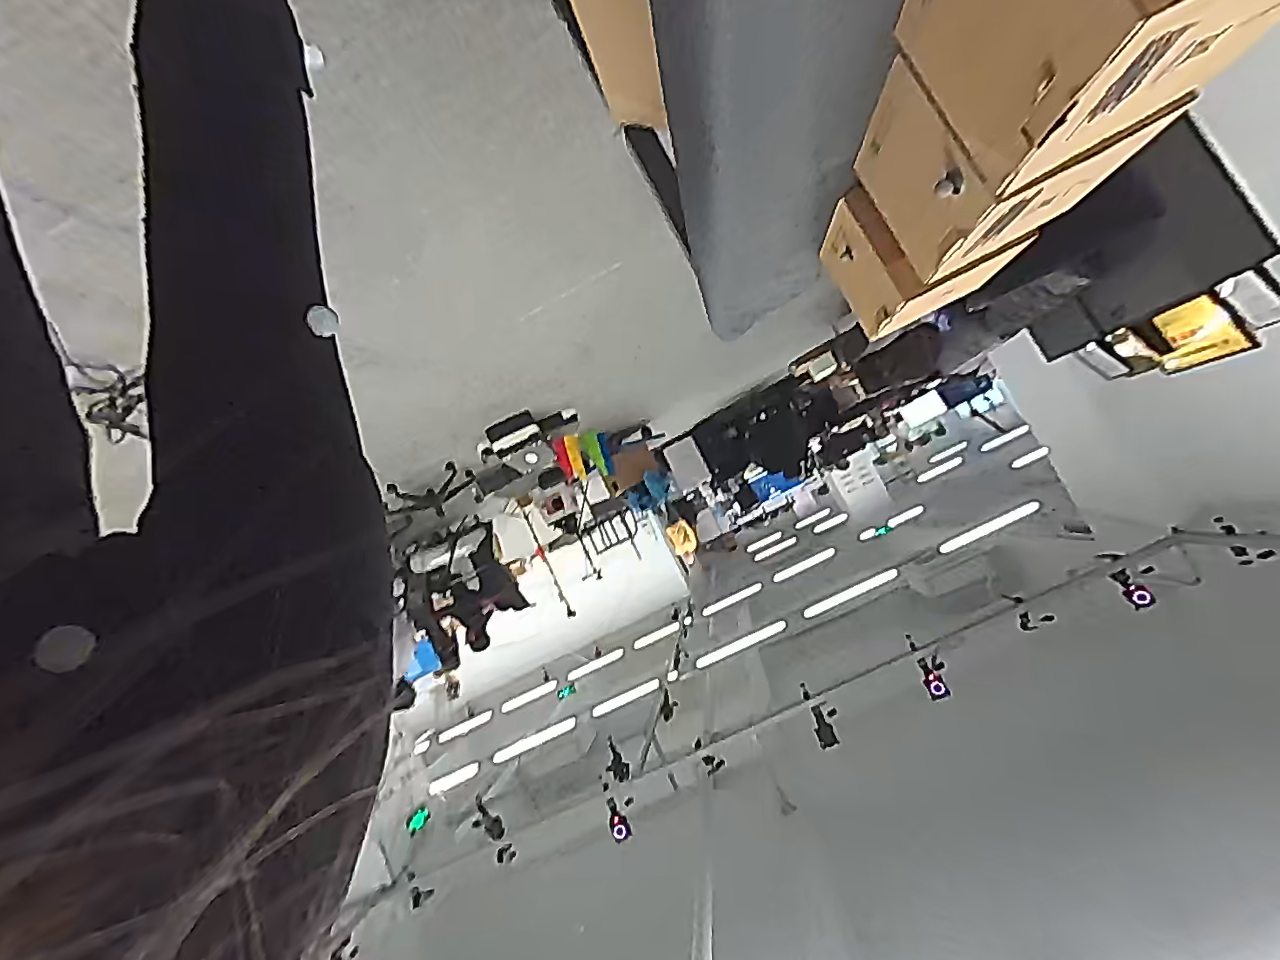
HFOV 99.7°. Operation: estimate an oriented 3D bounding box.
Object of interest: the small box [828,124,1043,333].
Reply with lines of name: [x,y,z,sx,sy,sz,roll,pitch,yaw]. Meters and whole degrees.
small box: [0.390,-0.338,0.748,0.179,0.176,0.168,-26,174,8]
